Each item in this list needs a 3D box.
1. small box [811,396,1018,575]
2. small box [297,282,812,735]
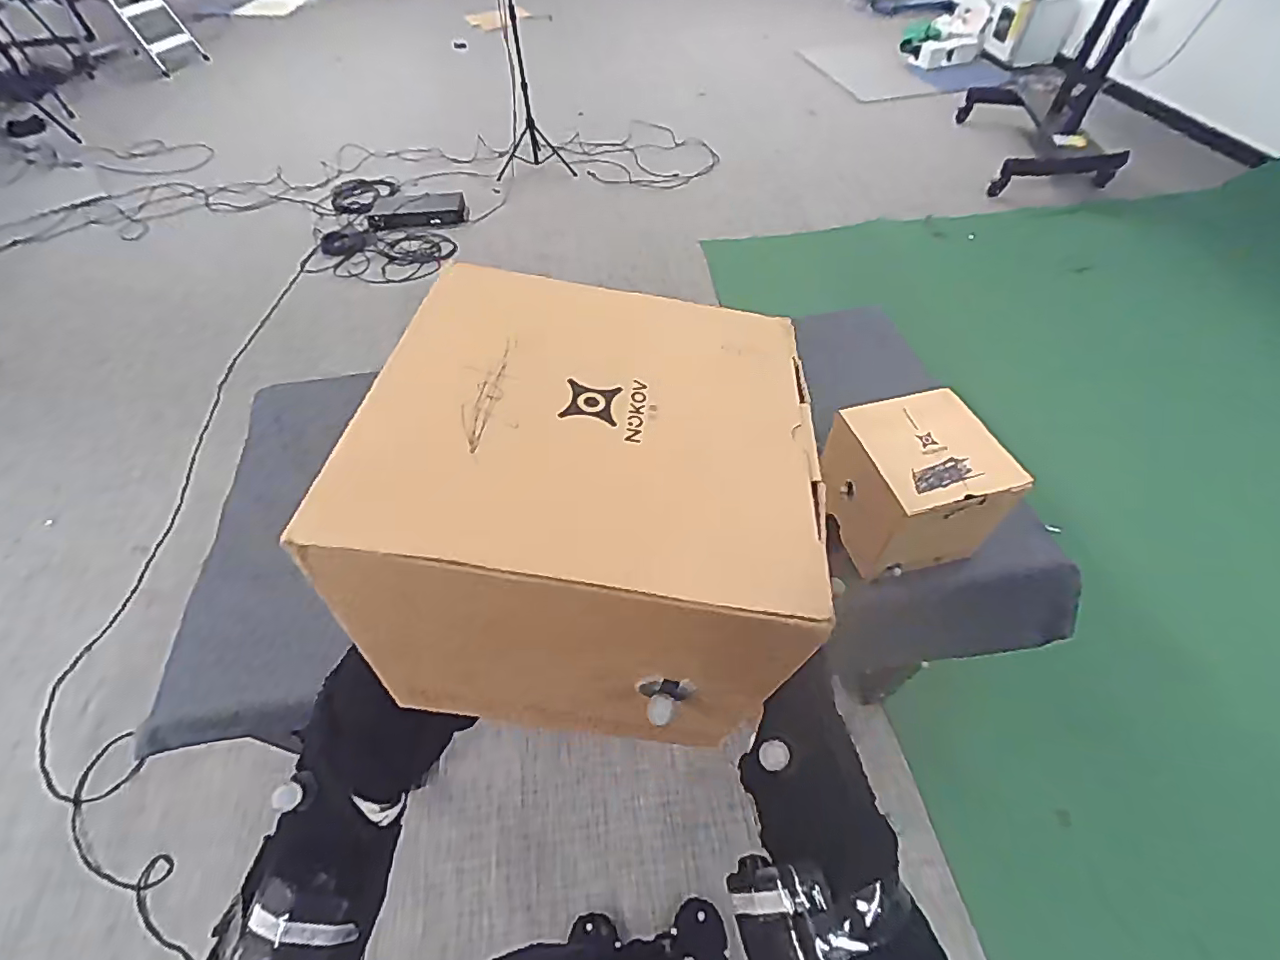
[{"bbox_3d":[0.359,0.015,0.748,0.168,0.176,0.179,-12,51,-7],"label":"small box"},{"bbox_3d":[-0.029,0.024,0.290,0.179,0.176,0.168,8,50,-2],"label":"small box"}]
